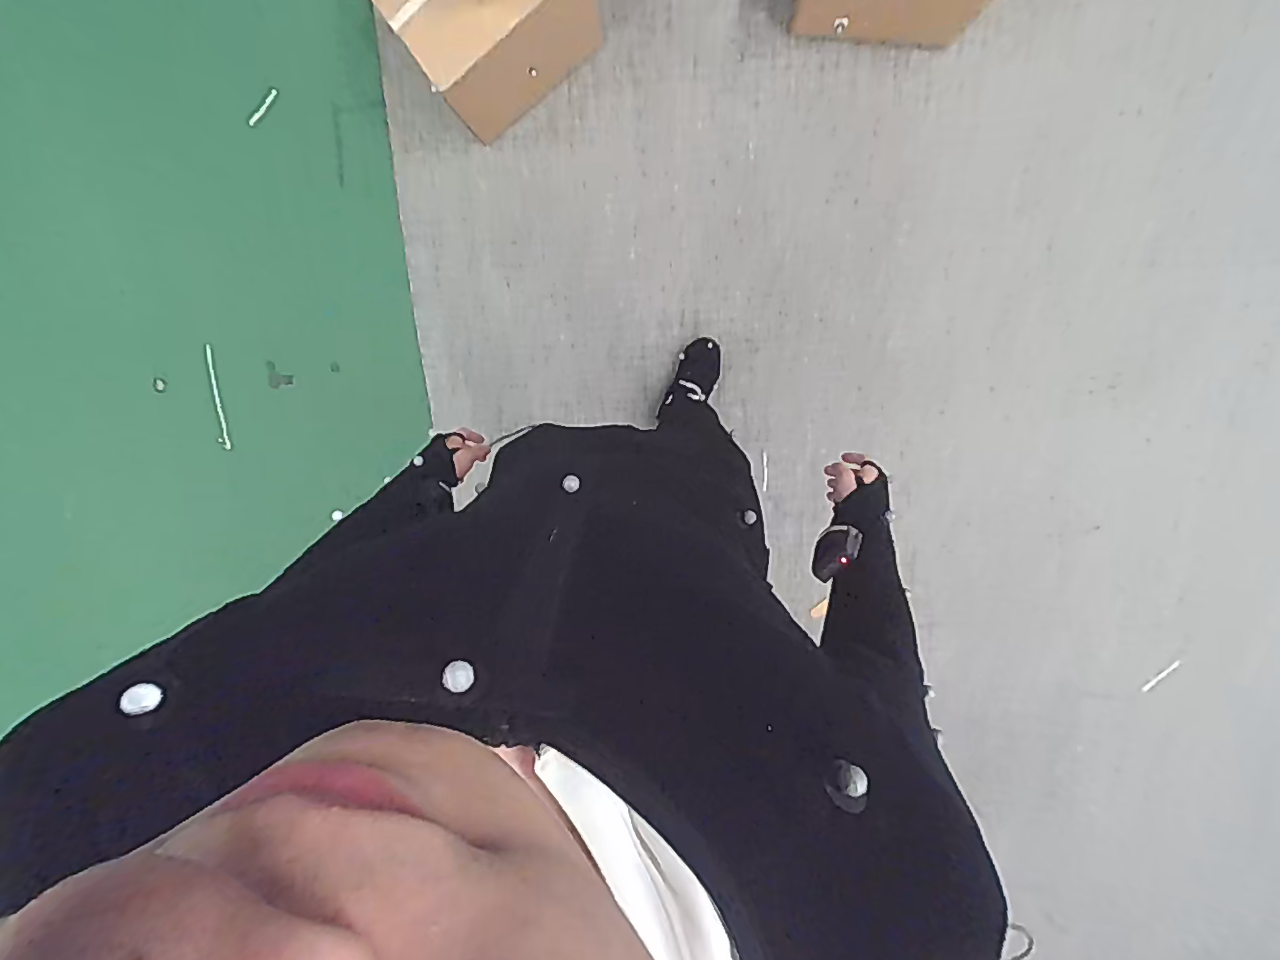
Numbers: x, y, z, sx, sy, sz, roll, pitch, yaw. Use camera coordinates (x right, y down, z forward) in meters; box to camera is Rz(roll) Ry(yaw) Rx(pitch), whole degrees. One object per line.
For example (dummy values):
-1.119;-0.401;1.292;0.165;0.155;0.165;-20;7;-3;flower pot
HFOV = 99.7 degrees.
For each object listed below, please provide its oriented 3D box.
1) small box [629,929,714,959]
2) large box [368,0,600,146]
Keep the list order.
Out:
0.061;0.999;1.025;0.168;0.176;0.179;-2;103;4;small box
-0.353;-1.093;1.257;0.408;0.320;0.320;-35;98;11;large box
